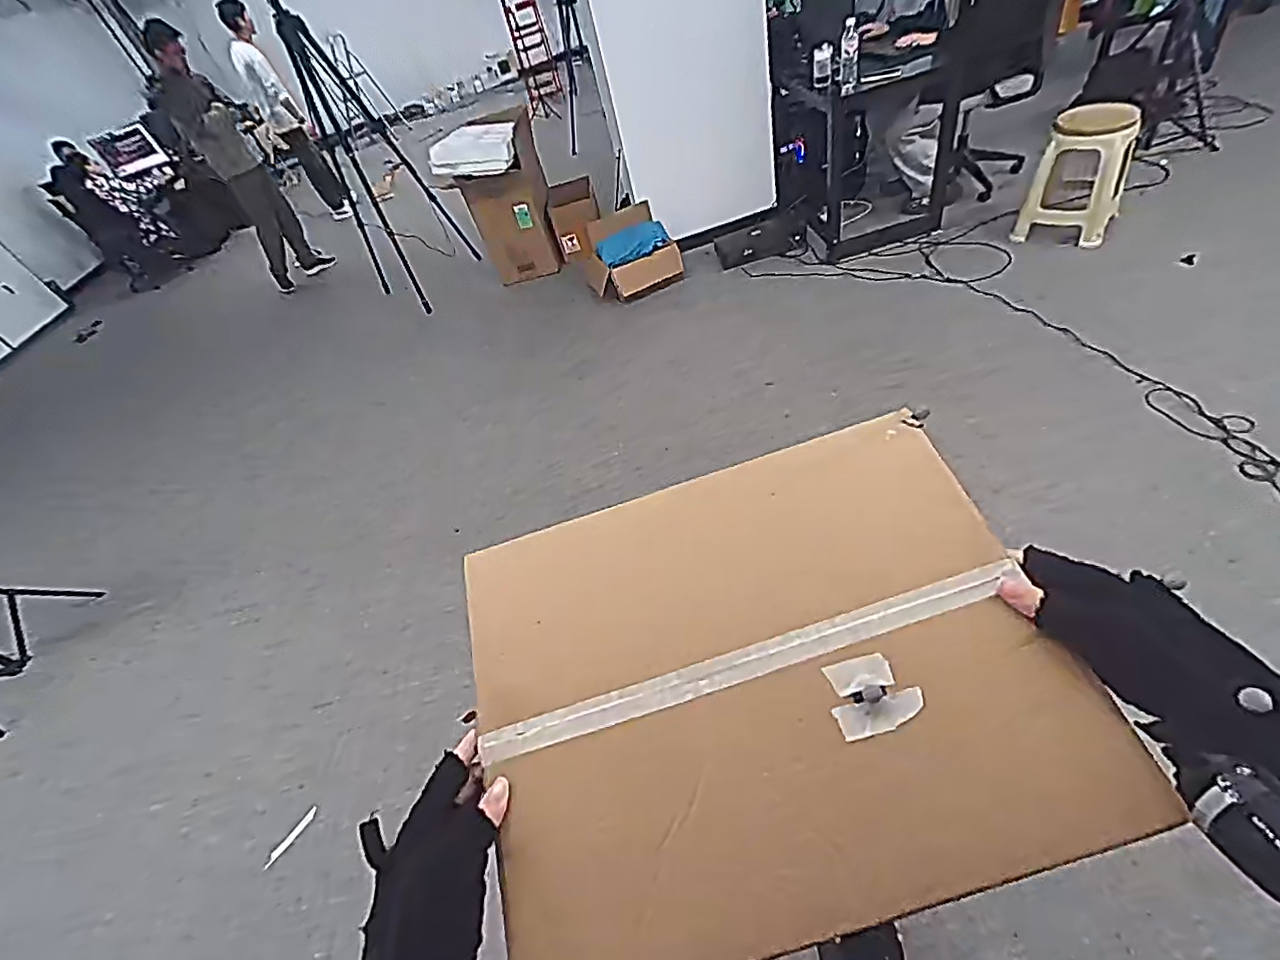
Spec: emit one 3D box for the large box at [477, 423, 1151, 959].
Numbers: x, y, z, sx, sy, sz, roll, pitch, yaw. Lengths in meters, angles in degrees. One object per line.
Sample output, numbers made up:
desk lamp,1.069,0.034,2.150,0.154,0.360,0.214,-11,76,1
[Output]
large box,0.107,0.210,0.529,0.408,0.320,0.320,-19,59,0
